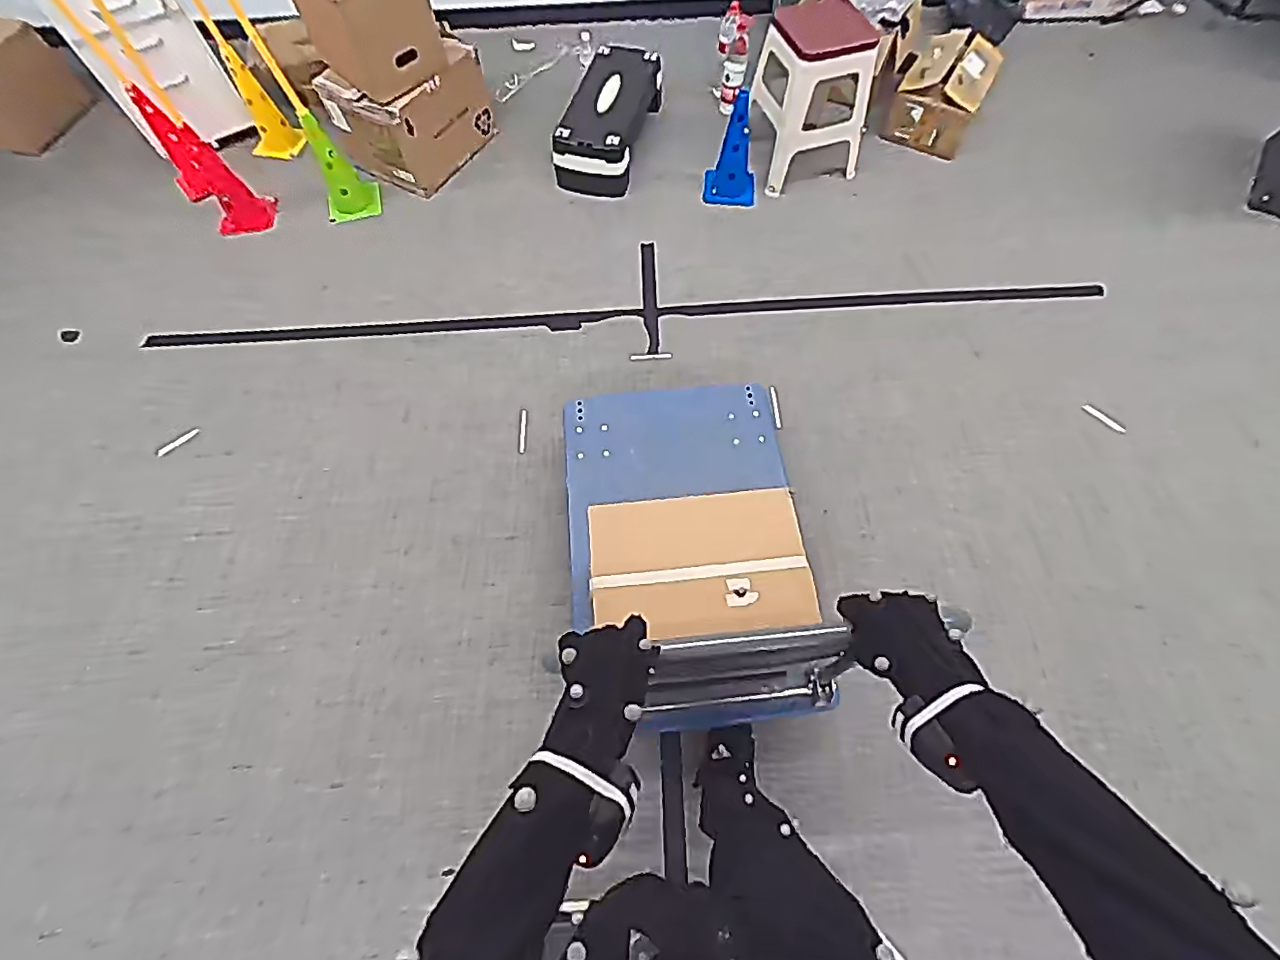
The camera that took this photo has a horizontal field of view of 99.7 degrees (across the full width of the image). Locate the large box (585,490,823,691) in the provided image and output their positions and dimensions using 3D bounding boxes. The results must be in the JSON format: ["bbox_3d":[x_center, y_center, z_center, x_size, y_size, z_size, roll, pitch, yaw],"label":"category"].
[{"bbox_3d":[0.106,0.242,1.129,0.408,0.320,0.320,-6,65,-3],"label":"large box"}]
